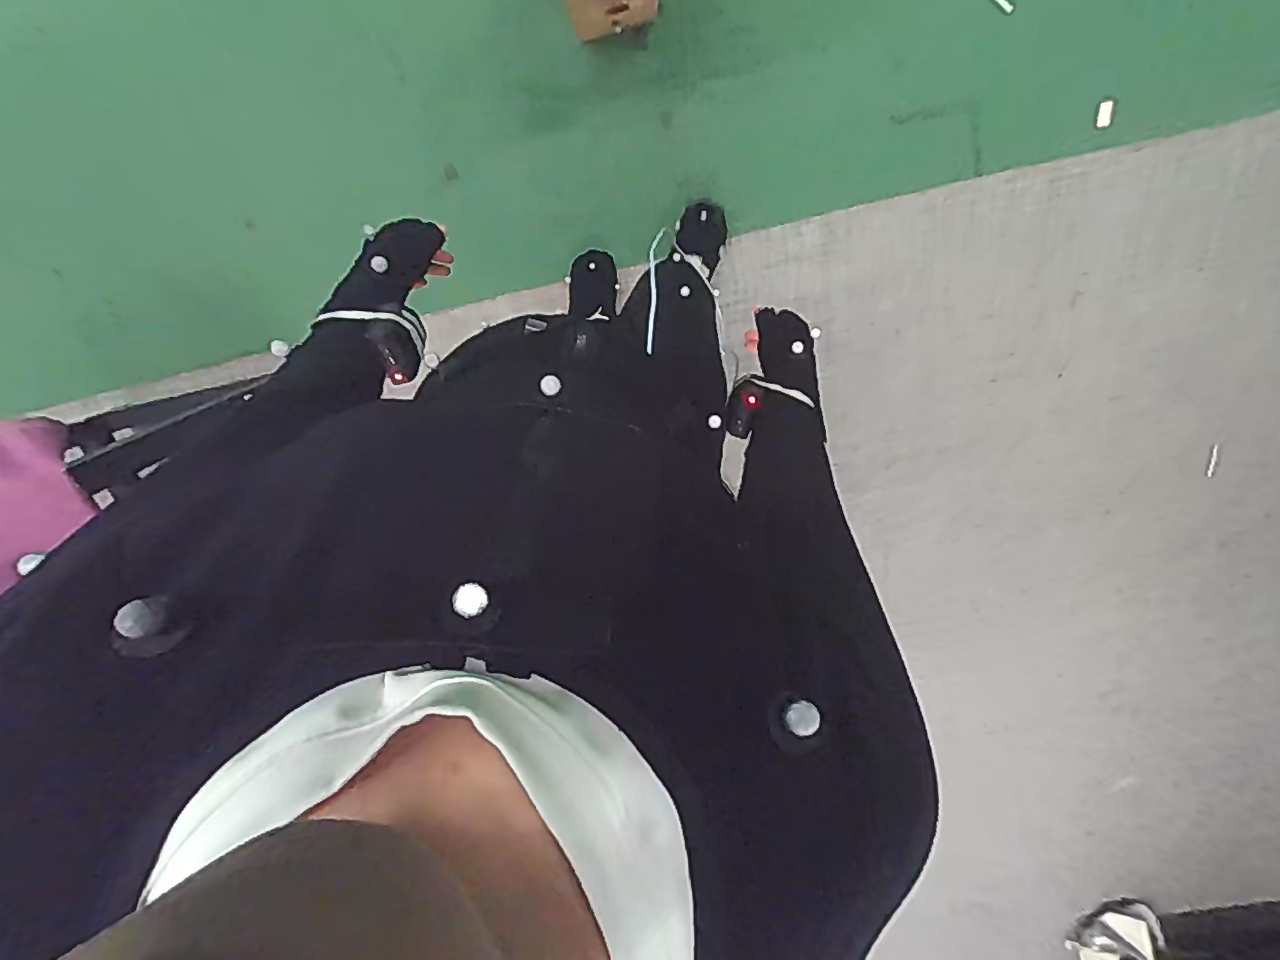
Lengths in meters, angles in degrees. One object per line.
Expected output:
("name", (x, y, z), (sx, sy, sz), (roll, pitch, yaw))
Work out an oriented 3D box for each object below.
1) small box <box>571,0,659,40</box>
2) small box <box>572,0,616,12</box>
("small box", (-0.060, -0.973, 1.011), (0.168, 0.176, 0.179), (-13, 114, 5))
("small box", (-0.060, -0.905, 0.863), (0.168, 0.176, 0.179), (-15, 115, 5))
